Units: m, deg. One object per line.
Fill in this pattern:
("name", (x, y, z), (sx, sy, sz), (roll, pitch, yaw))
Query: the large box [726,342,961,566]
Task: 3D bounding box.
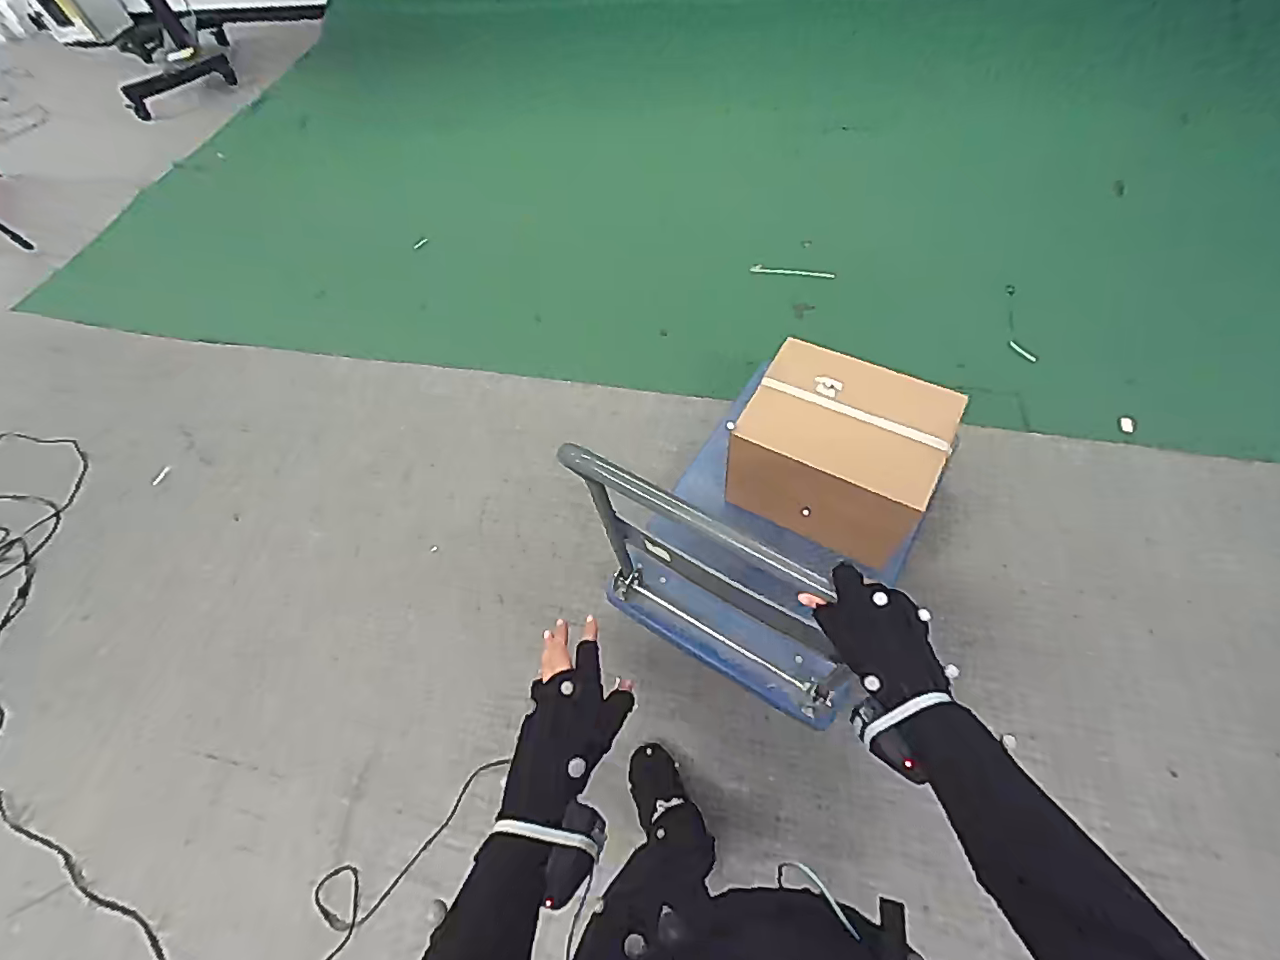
("large box", (0.450, -0.058, 1.268), (0.408, 0.320, 0.320), (25, 65, 21))
